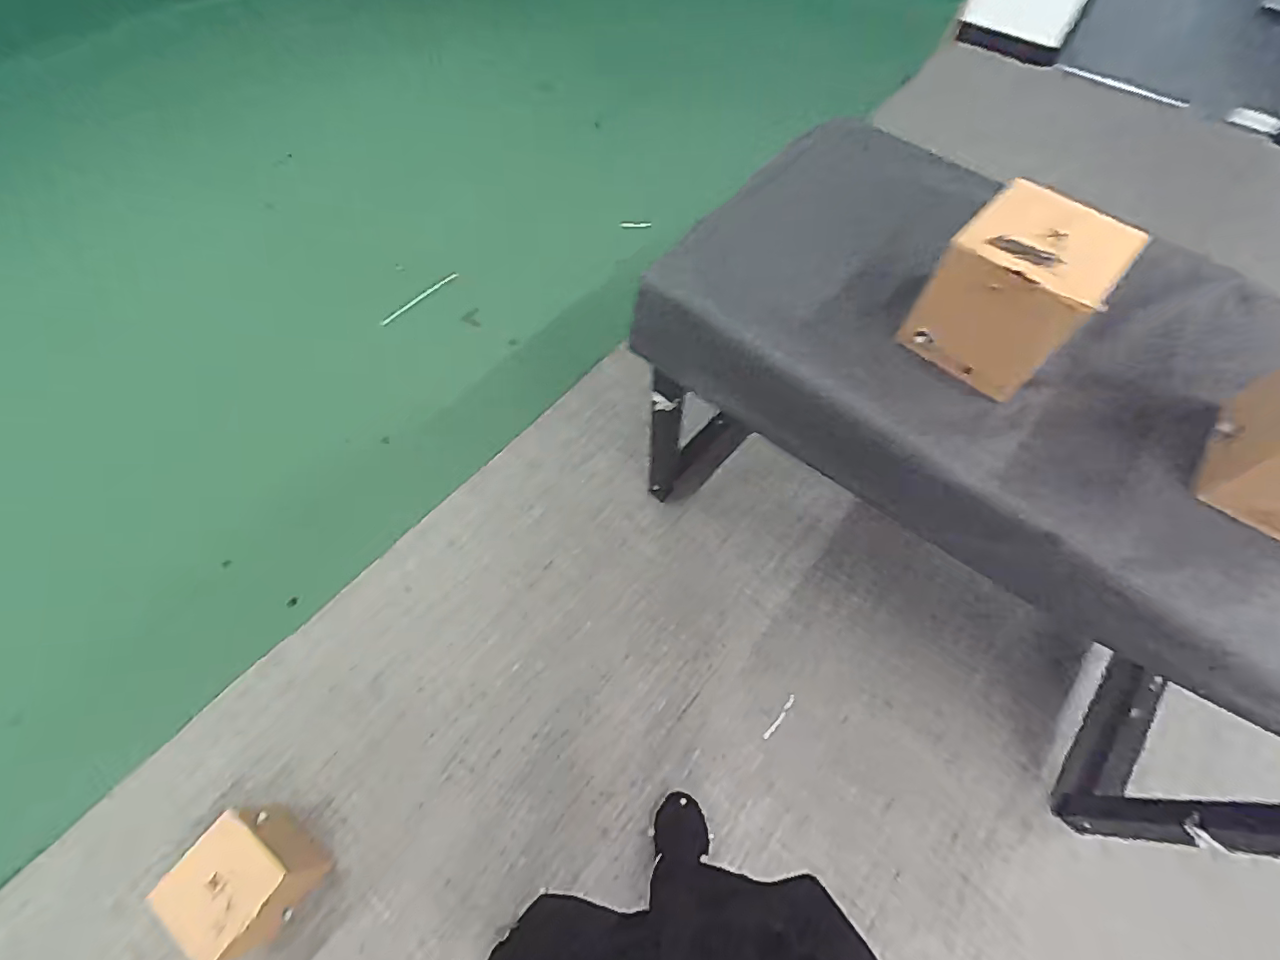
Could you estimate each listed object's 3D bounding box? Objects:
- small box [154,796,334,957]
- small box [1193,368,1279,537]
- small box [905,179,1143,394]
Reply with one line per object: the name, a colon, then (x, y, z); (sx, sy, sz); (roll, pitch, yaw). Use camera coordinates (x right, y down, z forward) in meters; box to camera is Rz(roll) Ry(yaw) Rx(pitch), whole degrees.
small box: (-0.726, 0.724, 1.011); (0.179, 0.176, 0.168); (32, 67, 16)
small box: (0.785, -0.035, 0.598); (0.168, 0.176, 0.179); (36, 67, 17)
small box: (0.484, -0.248, 0.712); (0.168, 0.176, 0.179); (41, 68, 19)
